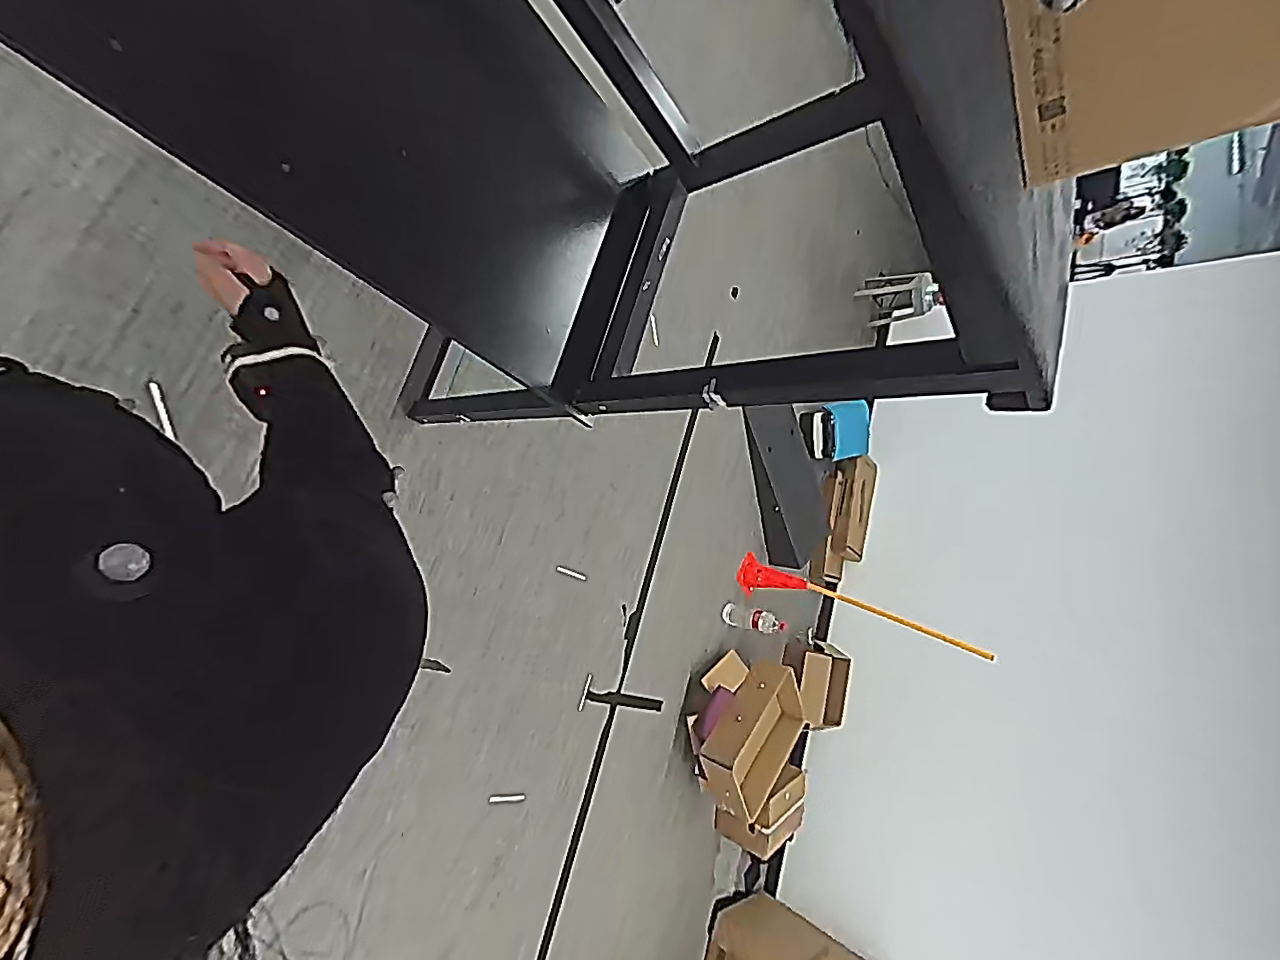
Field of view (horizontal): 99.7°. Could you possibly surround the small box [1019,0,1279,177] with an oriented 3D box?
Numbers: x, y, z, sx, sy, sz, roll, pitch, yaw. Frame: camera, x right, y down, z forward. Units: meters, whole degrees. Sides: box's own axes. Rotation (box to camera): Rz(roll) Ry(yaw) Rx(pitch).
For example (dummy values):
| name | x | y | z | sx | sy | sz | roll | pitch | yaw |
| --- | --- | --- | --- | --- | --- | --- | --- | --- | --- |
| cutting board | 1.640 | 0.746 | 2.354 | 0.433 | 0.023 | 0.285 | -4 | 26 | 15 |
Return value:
| name | x | y | z | sx | sy | sz | roll | pitch | yaw |
| --- | --- | --- | --- | --- | --- | --- | --- | --- | --- |
| small box | 0.343 | -0.334 | 0.337 | 0.168 | 0.176 | 0.179 | 37 | 64 | -43 |
